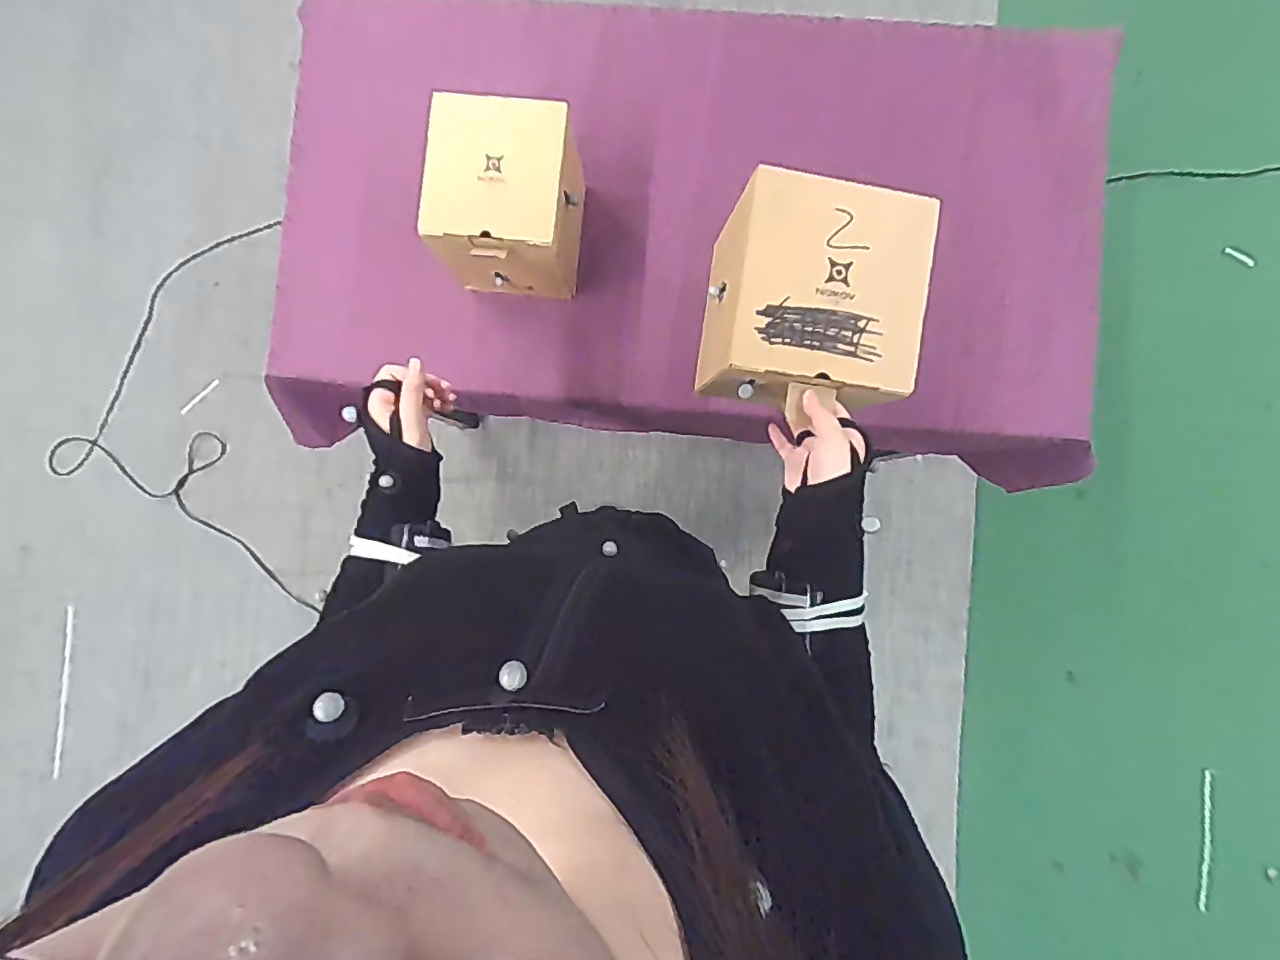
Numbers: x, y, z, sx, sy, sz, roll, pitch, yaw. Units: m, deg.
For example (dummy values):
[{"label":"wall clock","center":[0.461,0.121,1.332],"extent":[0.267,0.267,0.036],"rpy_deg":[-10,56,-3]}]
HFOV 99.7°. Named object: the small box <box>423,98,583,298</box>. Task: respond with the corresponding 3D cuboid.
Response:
[{"label":"small box","center":[-0.174,-0.372,0.740],"extent":[0.168,0.176,0.179],"rpy_deg":[6,89,1]}]
